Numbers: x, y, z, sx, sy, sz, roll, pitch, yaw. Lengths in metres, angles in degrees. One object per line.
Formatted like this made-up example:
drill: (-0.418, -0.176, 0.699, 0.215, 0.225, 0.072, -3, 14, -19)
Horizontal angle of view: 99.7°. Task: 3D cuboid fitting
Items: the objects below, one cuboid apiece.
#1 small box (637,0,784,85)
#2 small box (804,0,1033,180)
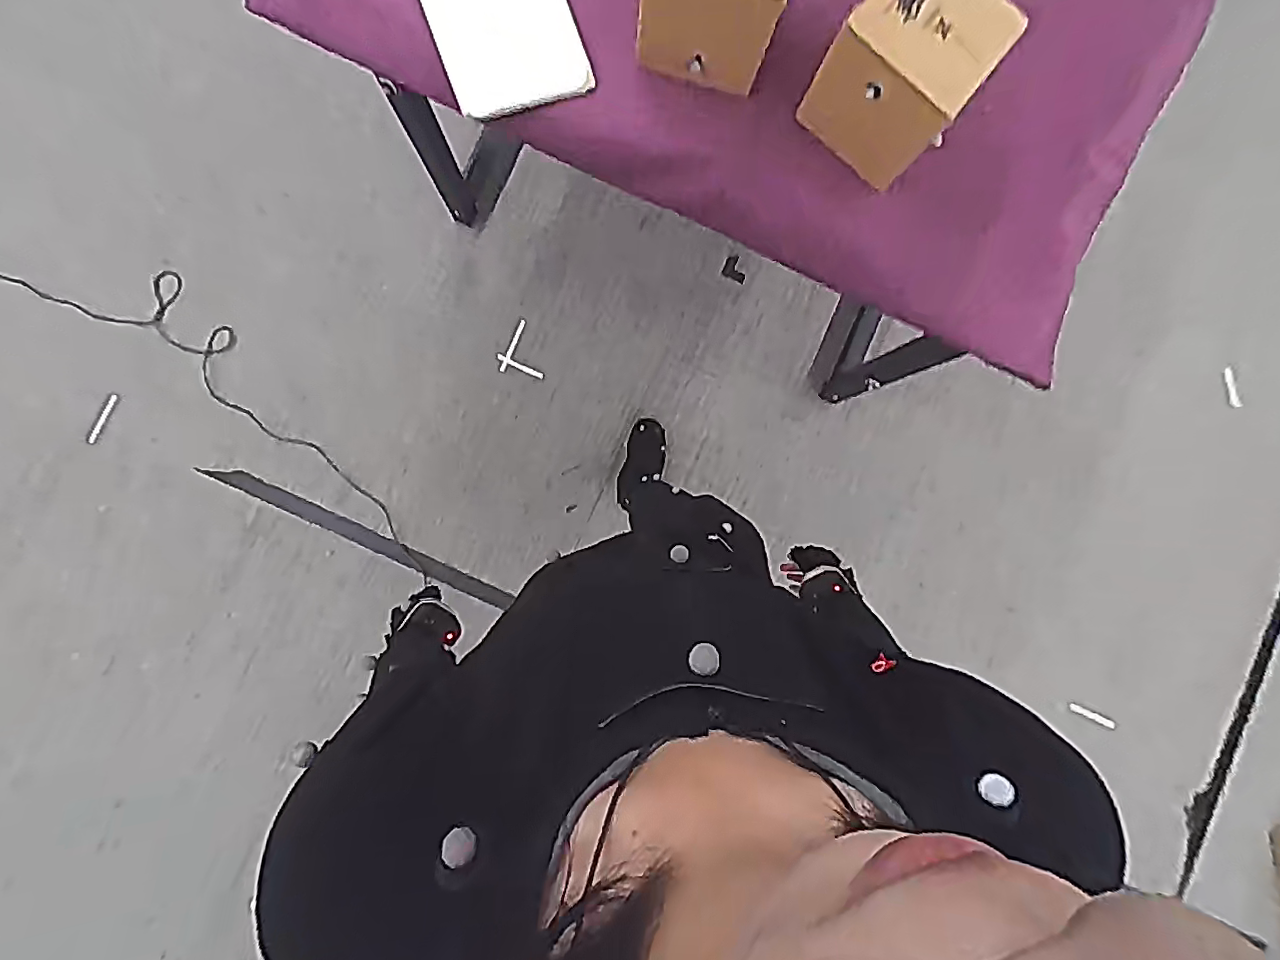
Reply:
small box: (0.102, -0.672, 0.714, 0.179, 0.176, 0.168, 13, 87, -4)
small box: (0.355, -0.555, 0.727, 0.179, 0.176, 0.168, 40, 86, -3)
